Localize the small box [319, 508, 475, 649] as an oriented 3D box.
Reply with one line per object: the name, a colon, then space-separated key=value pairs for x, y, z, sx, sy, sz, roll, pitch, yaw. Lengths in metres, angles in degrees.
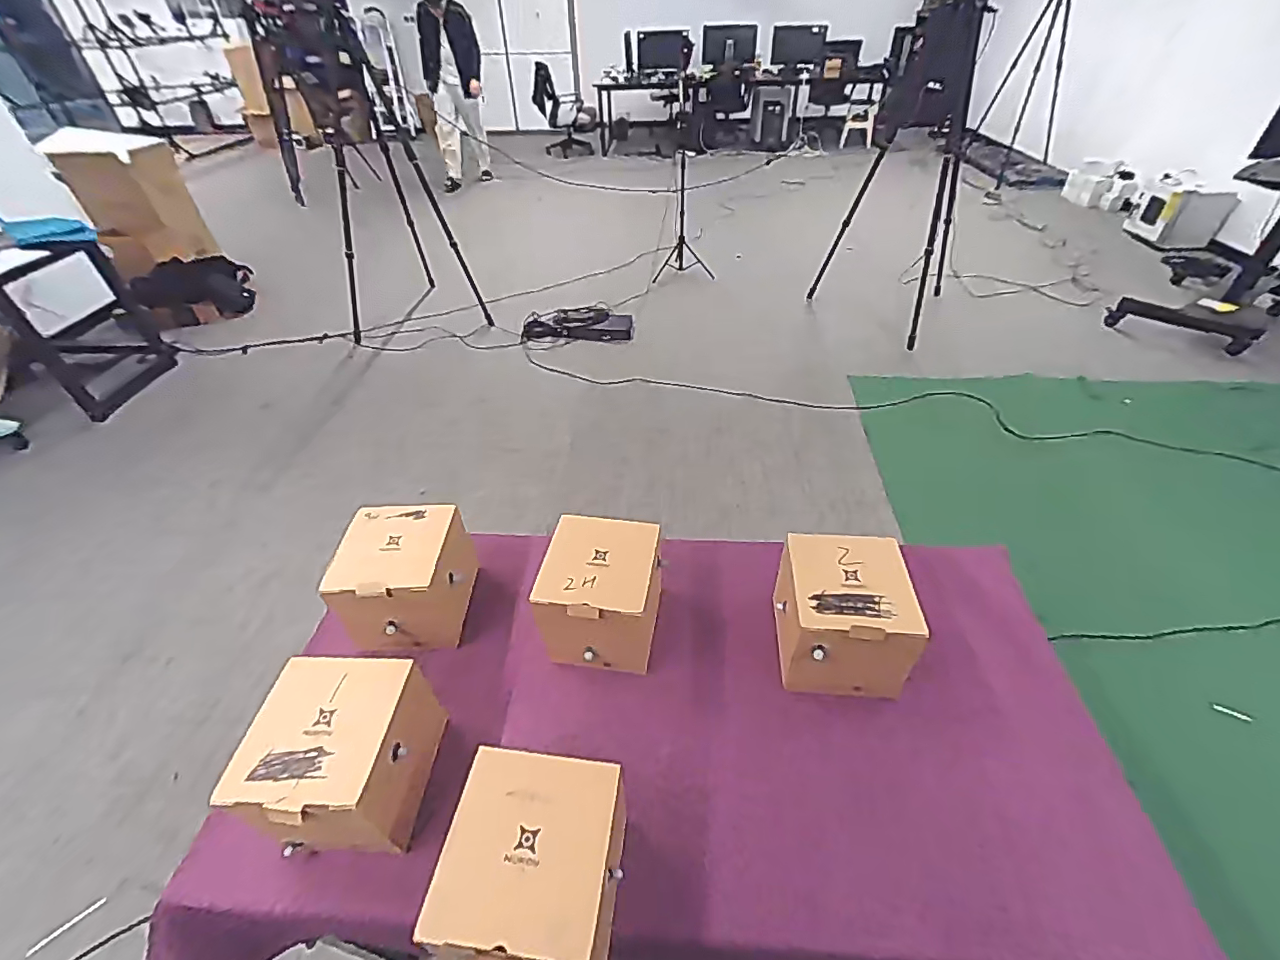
small box: x=-0.385 y=0.167 z=0.899 sx=0.168 sy=0.176 sz=0.179 roll=-1 pitch=43 yaw=0

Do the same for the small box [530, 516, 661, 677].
small box: x=-0.061 y=0.184 z=0.865 sx=0.168 sy=0.176 sz=0.179 roll=5 pitch=42 yaw=9

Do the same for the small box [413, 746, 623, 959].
small box: x=-0.113 y=0.427 z=0.595 sx=0.168 sy=0.176 sz=0.179 roll=5 pitch=41 yaw=7

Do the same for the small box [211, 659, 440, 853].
small box: x=-0.375 y=0.352 z=0.690 sx=0.168 sy=0.176 sz=0.179 roll=1 pitch=40 yaw=2
